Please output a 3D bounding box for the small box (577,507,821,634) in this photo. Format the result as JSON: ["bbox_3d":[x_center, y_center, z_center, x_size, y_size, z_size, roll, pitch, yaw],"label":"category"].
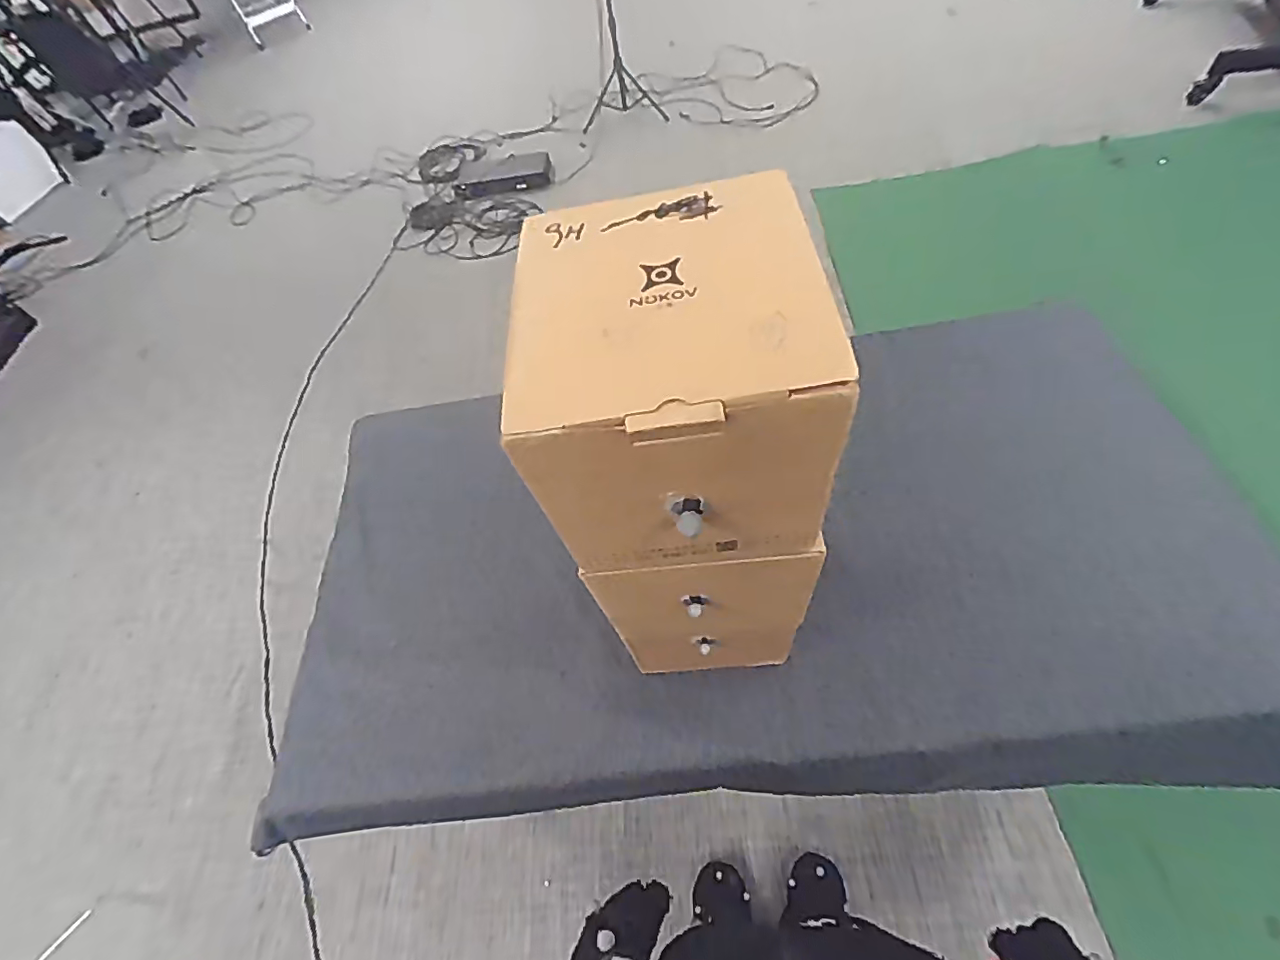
[{"bbox_3d":[0.050,0.032,0.490,0.179,0.176,0.168,-8,58,8],"label":"small box"}]

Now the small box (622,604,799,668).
[{"bbox_3d":[0.077,0.114,0.630,0.179,0.176,0.168,-7,58,6],"label":"small box"}]

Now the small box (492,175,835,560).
[{"bbox_3d":[0.019,-0.057,0.357,0.168,0.176,0.179,-8,58,7],"label":"small box"}]
